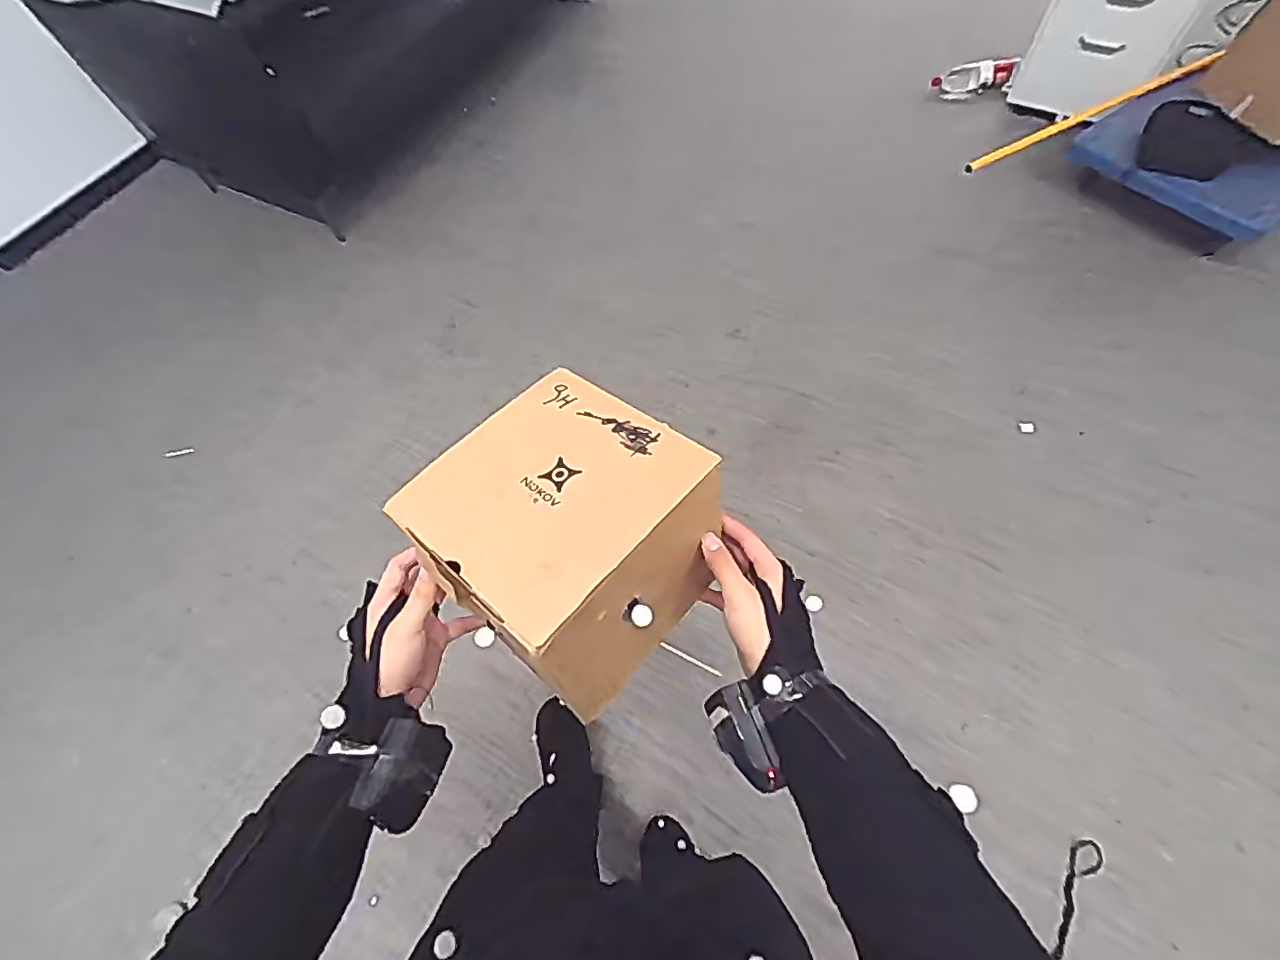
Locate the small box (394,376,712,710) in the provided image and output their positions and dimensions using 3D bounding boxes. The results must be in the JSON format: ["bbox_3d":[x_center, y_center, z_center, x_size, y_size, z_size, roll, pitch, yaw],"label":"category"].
[{"bbox_3d":[-0.052,0.054,0.444,0.168,0.176,0.179,33,64,28],"label":"small box"}]
